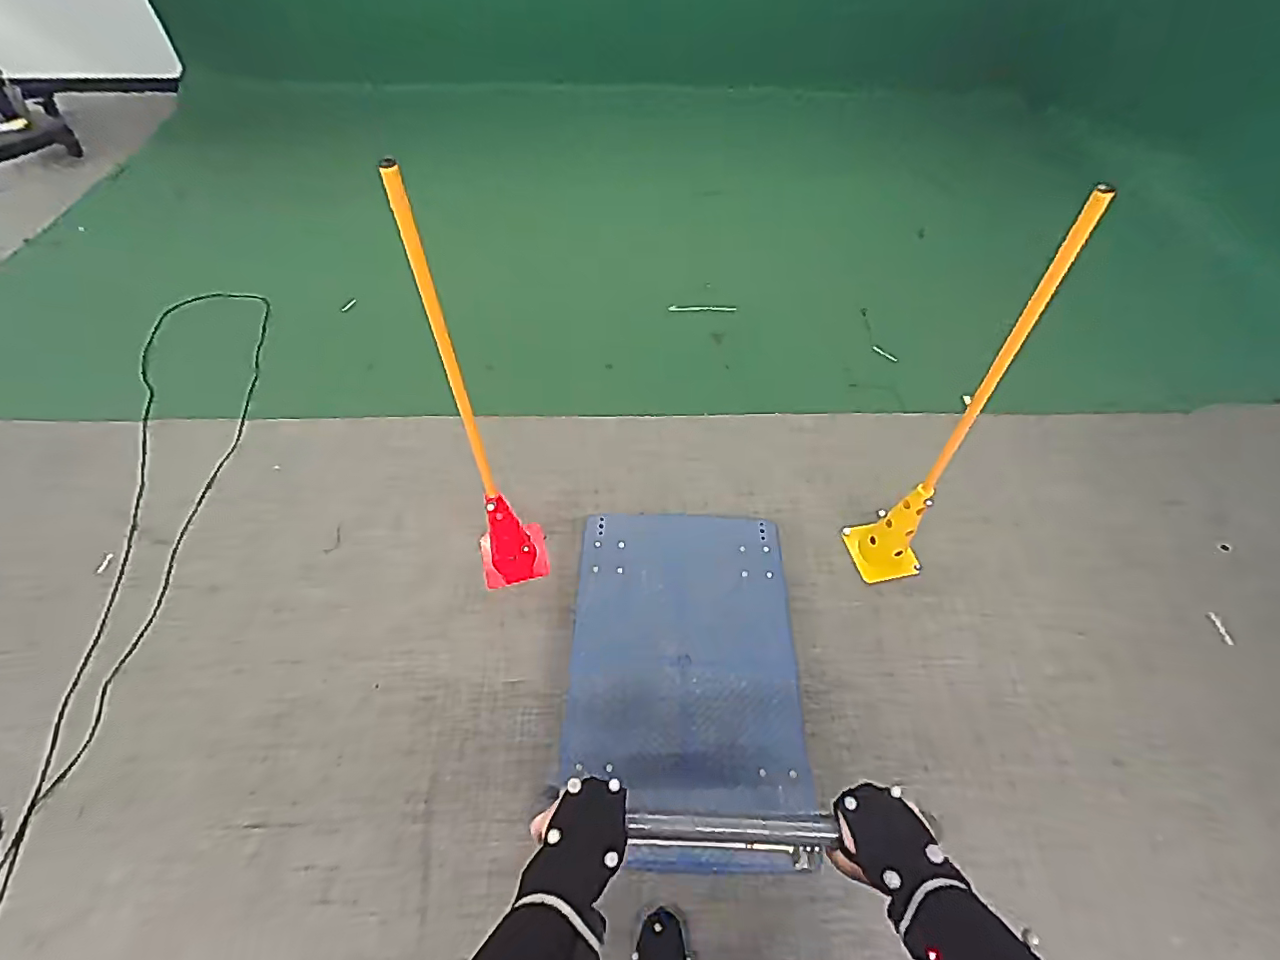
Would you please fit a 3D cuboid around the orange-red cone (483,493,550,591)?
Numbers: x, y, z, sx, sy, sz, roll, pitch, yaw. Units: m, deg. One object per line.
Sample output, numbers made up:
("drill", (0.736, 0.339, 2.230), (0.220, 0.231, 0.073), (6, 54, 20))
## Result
("orange-red cone", (-0.399, 0.153, 1.594), (0.199, 0.360, 0.198), (-13, 55, -8))
